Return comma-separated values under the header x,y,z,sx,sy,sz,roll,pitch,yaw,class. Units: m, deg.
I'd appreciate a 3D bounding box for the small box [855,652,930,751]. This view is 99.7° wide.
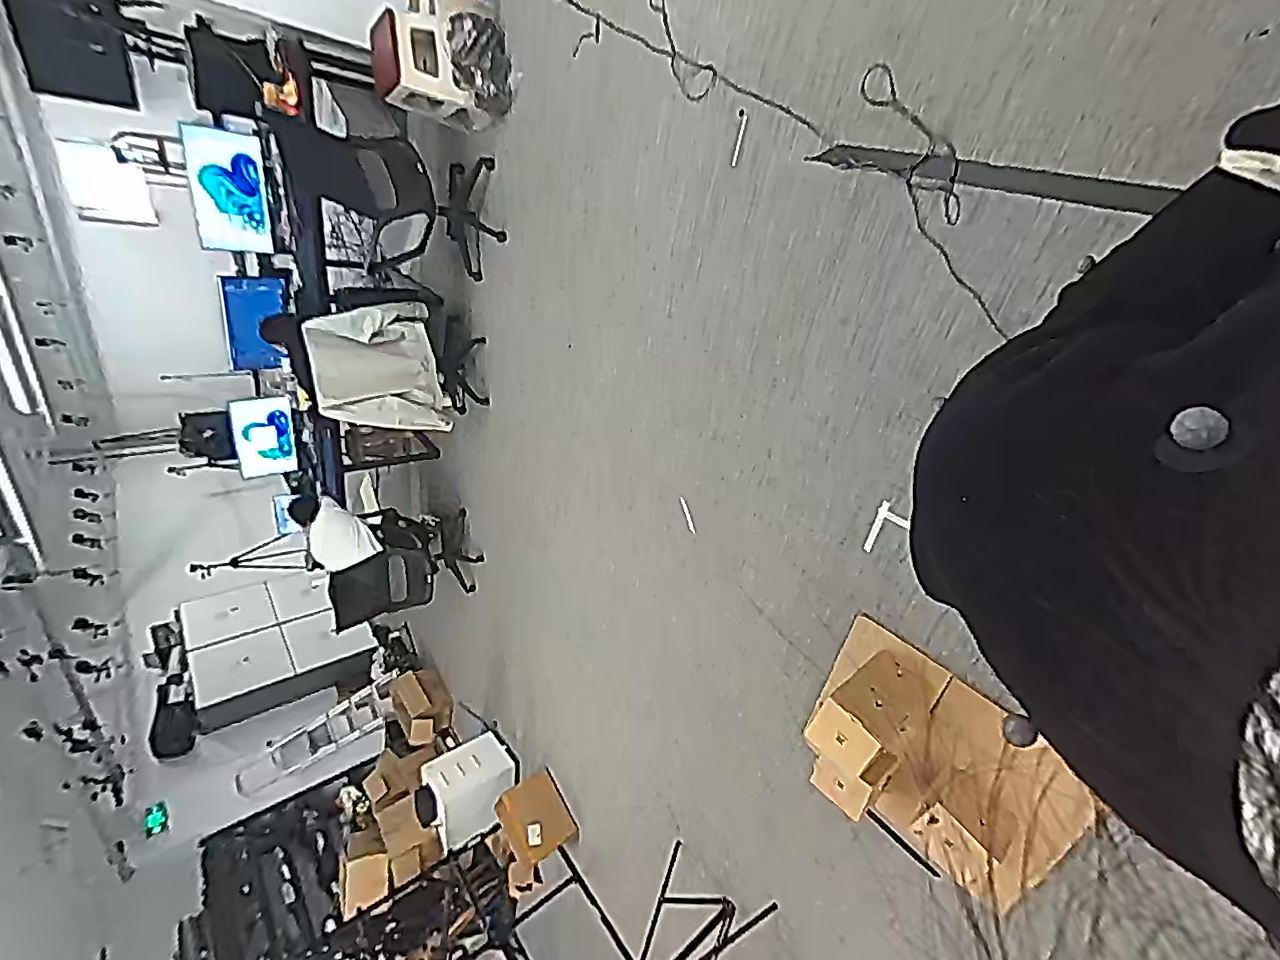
x,y,z,sx,sy,sz,roll,pitch,yaw,class
0.718,0.645,1.593,0.168,0.176,0.179,36,125,38,small box

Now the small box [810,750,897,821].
x,y,z,sx,sy,sz,roll,pitch,yaw,class
0.679,0.924,1.722,0.179,0.176,0.168,31,124,41,small box

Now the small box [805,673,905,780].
x,y,z,sx,sy,sz,roll,pitch,yaw,class
0.595,0.674,1.490,0.168,0.176,0.179,39,127,36,small box

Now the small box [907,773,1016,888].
x,y,z,sx,sy,sz,roll,pitch,yaw,class
0.884,0.953,1.483,0.179,0.176,0.168,43,130,32,small box
